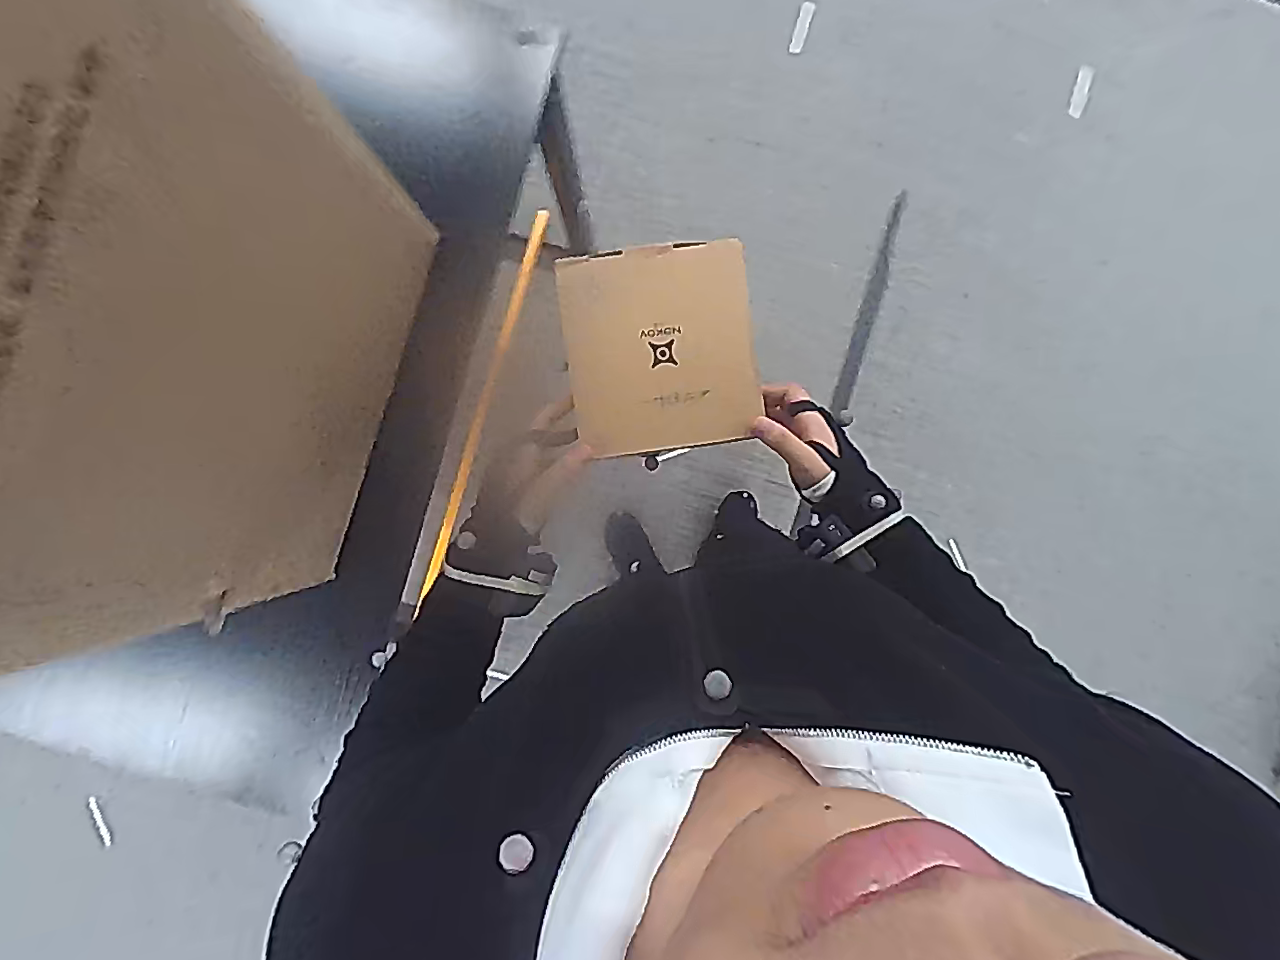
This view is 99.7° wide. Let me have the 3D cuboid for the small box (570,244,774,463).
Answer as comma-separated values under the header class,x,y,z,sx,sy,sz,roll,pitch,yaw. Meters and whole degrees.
class,x,y,z,sx,sy,sz,roll,pitch,yaw
small box,0.023,-0.112,0.546,0.168,0.176,0.179,-7,92,-3
